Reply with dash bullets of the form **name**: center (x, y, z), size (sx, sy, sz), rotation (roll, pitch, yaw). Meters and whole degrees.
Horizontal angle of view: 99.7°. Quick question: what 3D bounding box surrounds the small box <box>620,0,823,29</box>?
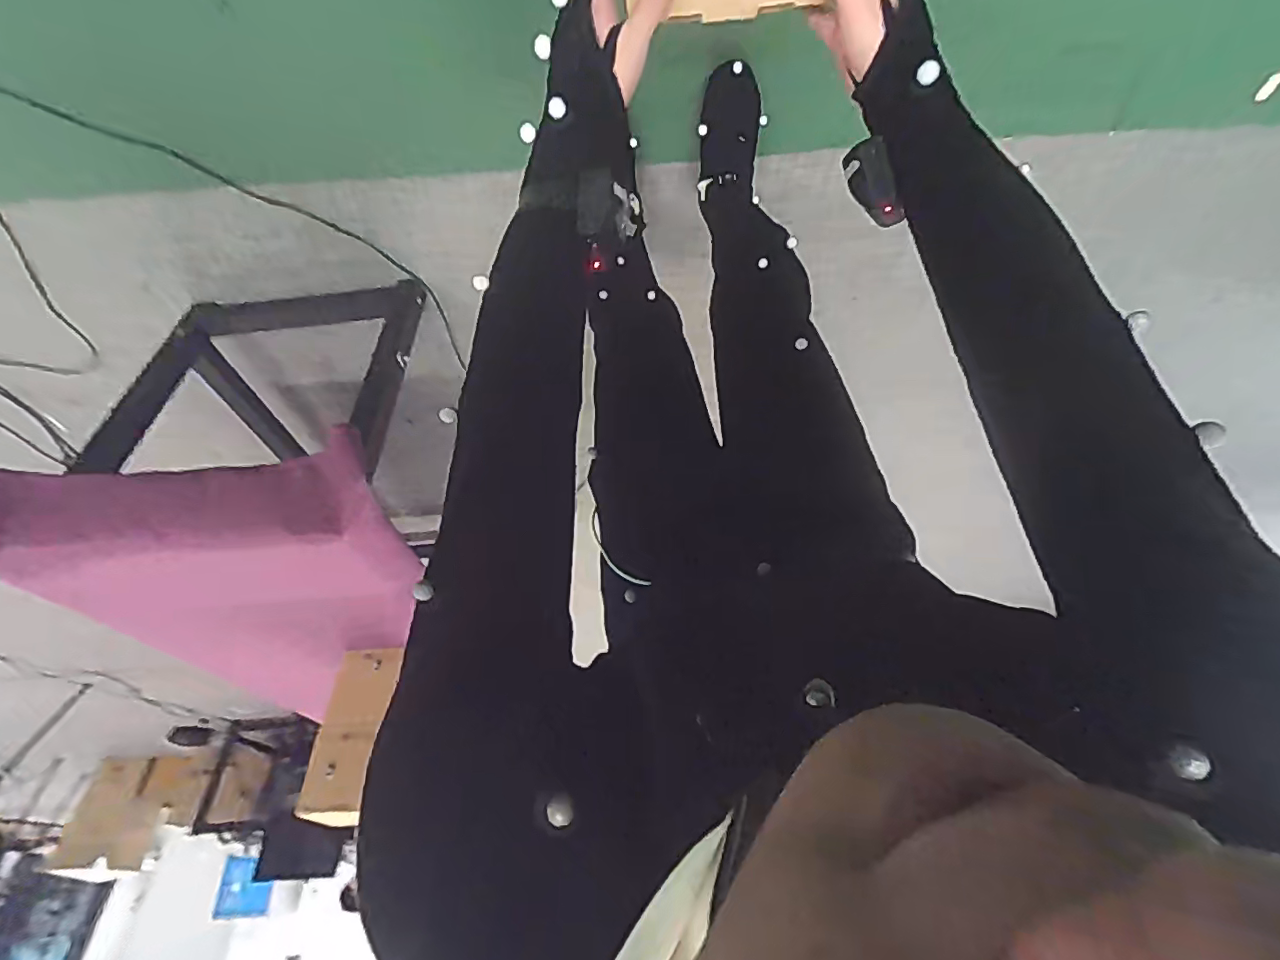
- **small box**: center (0.058, -0.487, 0.414), size (0.168, 0.176, 0.179), rotation (-5, 143, 3)

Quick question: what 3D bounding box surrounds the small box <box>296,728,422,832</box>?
- **small box**: center (-0.585, 0.635, 1.151), size (0.168, 0.176, 0.179), rotation (-1, 141, -2)
